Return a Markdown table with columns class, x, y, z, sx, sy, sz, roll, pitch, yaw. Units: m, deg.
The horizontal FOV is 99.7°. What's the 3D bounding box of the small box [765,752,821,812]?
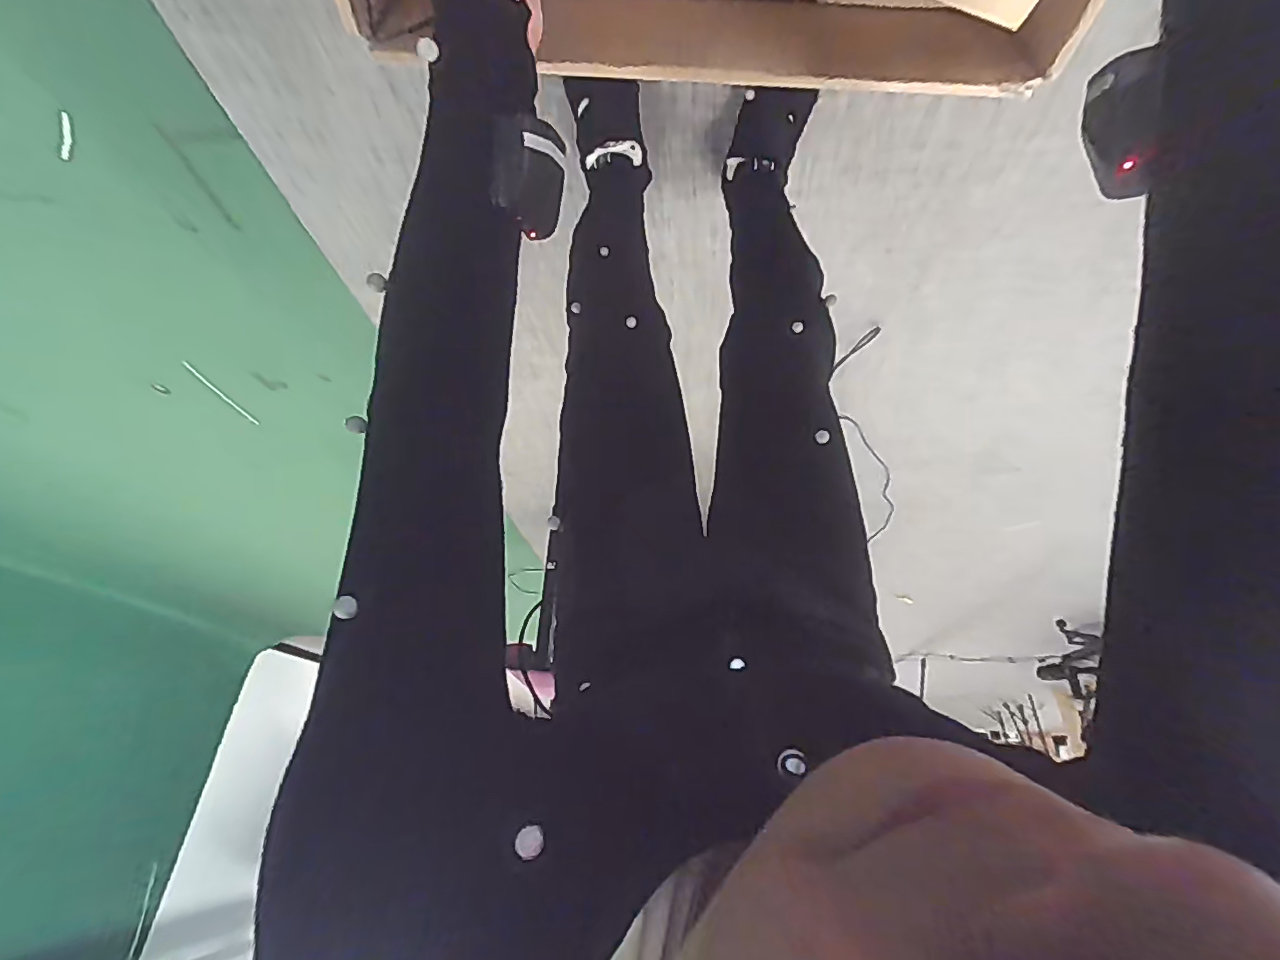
| class | x | y | z | sx | sy | sz | roll | pitch | yaw |
| --- | --- | --- | --- | --- | --- | --- | --- | --- | --- |
| small box | 0.523 | 1.039 | 1.867 | 0.168 | 0.176 | 0.179 | -1 | 150 | 9 |
